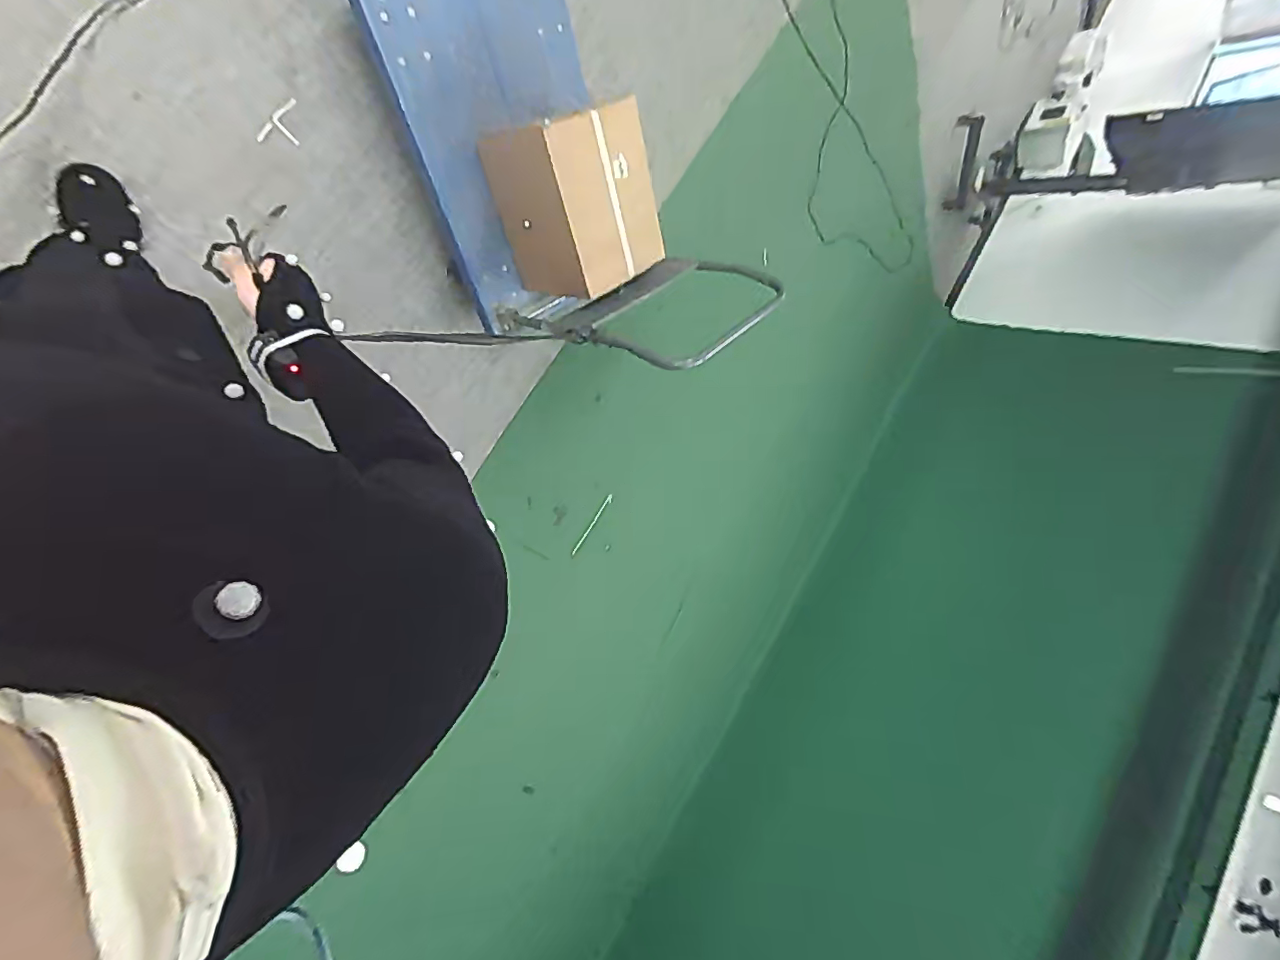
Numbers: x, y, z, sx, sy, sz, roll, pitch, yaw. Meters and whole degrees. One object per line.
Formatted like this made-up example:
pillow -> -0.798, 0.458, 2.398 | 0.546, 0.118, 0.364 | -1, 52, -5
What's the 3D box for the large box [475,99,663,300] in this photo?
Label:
large box -> -0.184, -0.756, 1.491 | 0.320, 0.320, 0.408 | -40, 132, -29
